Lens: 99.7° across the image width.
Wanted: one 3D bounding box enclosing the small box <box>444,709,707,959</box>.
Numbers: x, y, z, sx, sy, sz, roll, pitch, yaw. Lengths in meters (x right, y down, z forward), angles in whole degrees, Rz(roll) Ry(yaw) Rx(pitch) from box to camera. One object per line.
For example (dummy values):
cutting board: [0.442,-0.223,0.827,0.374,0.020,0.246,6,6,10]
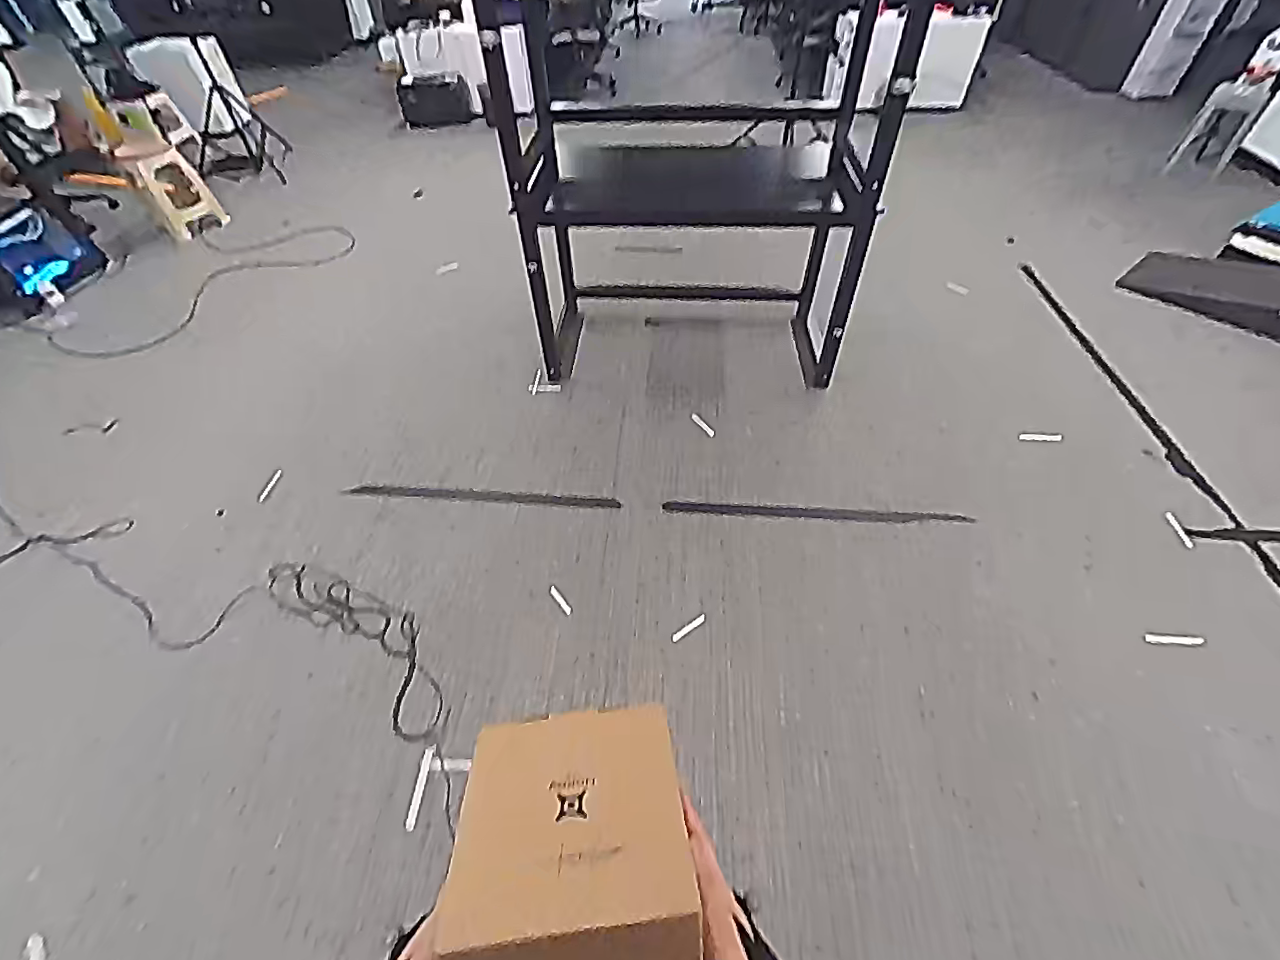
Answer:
small box: [-0.044,0.322,0.439,0.168,0.176,0.179,-6,21,-5]
